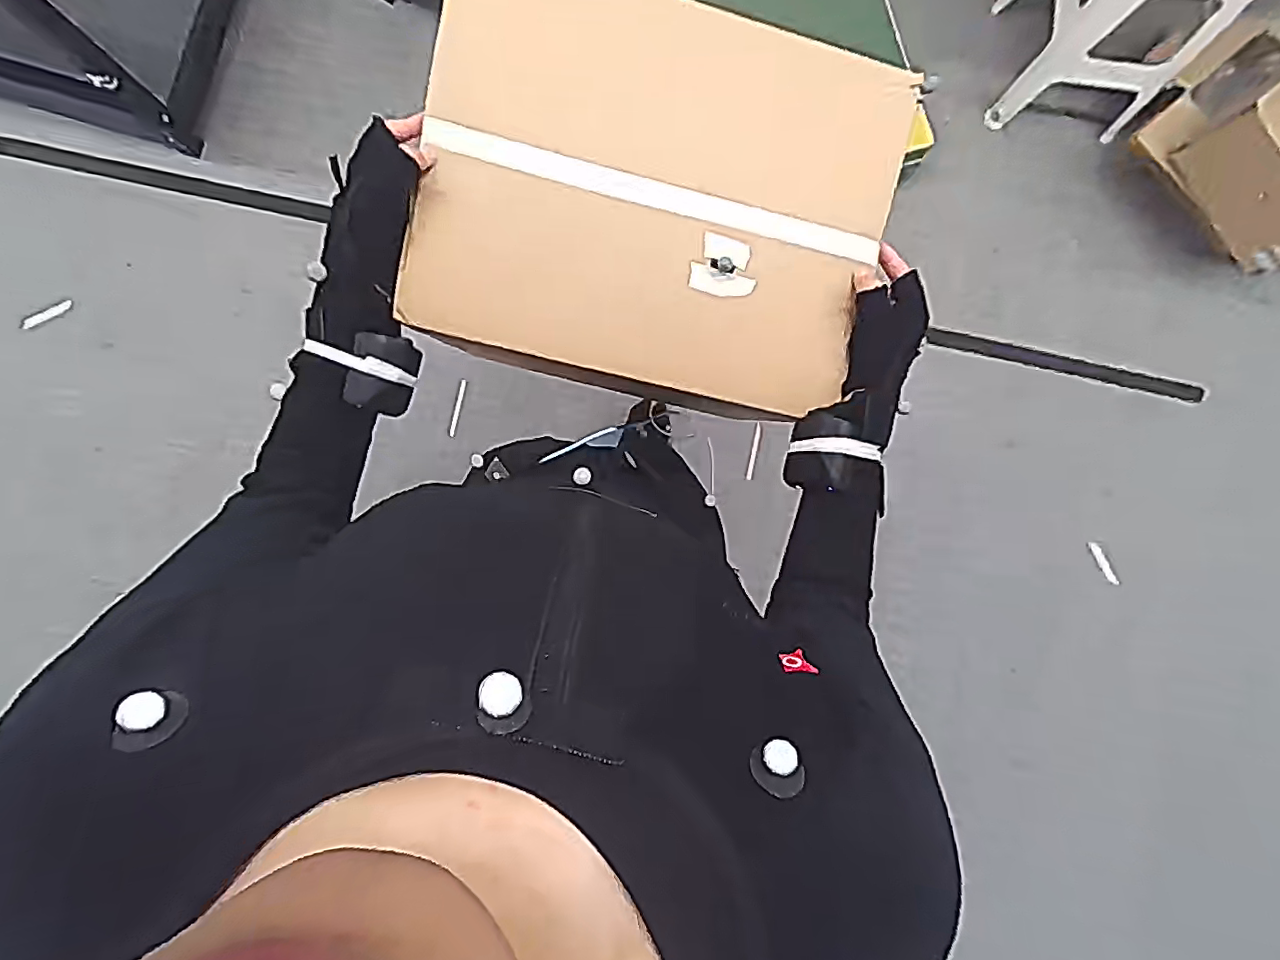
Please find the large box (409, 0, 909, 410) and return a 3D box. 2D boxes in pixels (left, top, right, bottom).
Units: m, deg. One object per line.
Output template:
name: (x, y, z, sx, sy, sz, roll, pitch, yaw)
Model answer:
large box: (0.004, -0.270, 0.623, 0.408, 0.320, 0.320, 12, 97, -7)
